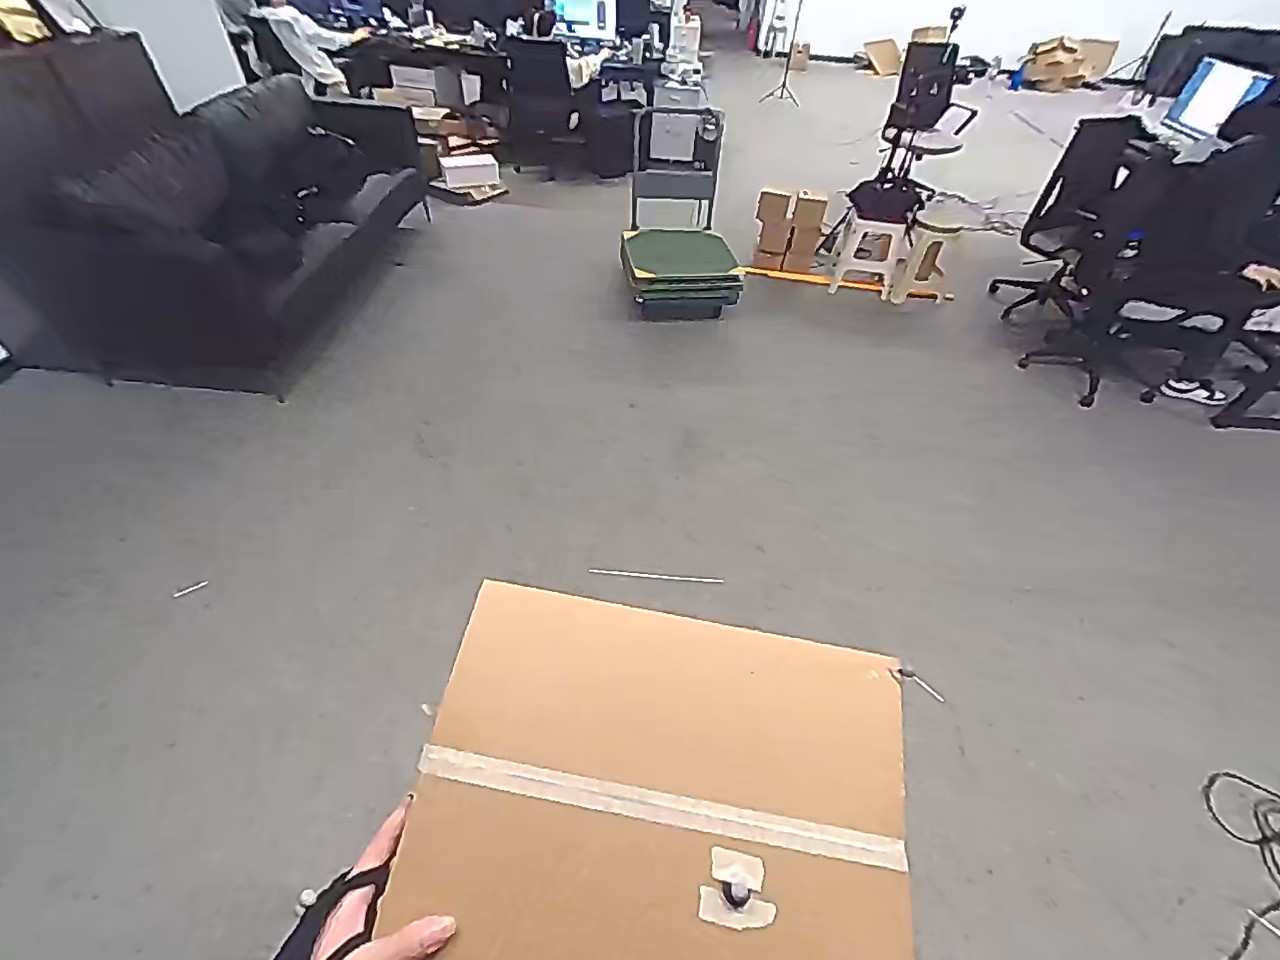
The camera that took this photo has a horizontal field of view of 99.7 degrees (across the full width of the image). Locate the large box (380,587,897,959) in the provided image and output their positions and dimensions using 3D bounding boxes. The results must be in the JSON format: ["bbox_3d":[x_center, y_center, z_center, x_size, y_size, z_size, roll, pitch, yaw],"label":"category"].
[{"bbox_3d":[0.011,0.337,0.597,0.408,0.320,0.320,10,64,2],"label":"large box"}]
